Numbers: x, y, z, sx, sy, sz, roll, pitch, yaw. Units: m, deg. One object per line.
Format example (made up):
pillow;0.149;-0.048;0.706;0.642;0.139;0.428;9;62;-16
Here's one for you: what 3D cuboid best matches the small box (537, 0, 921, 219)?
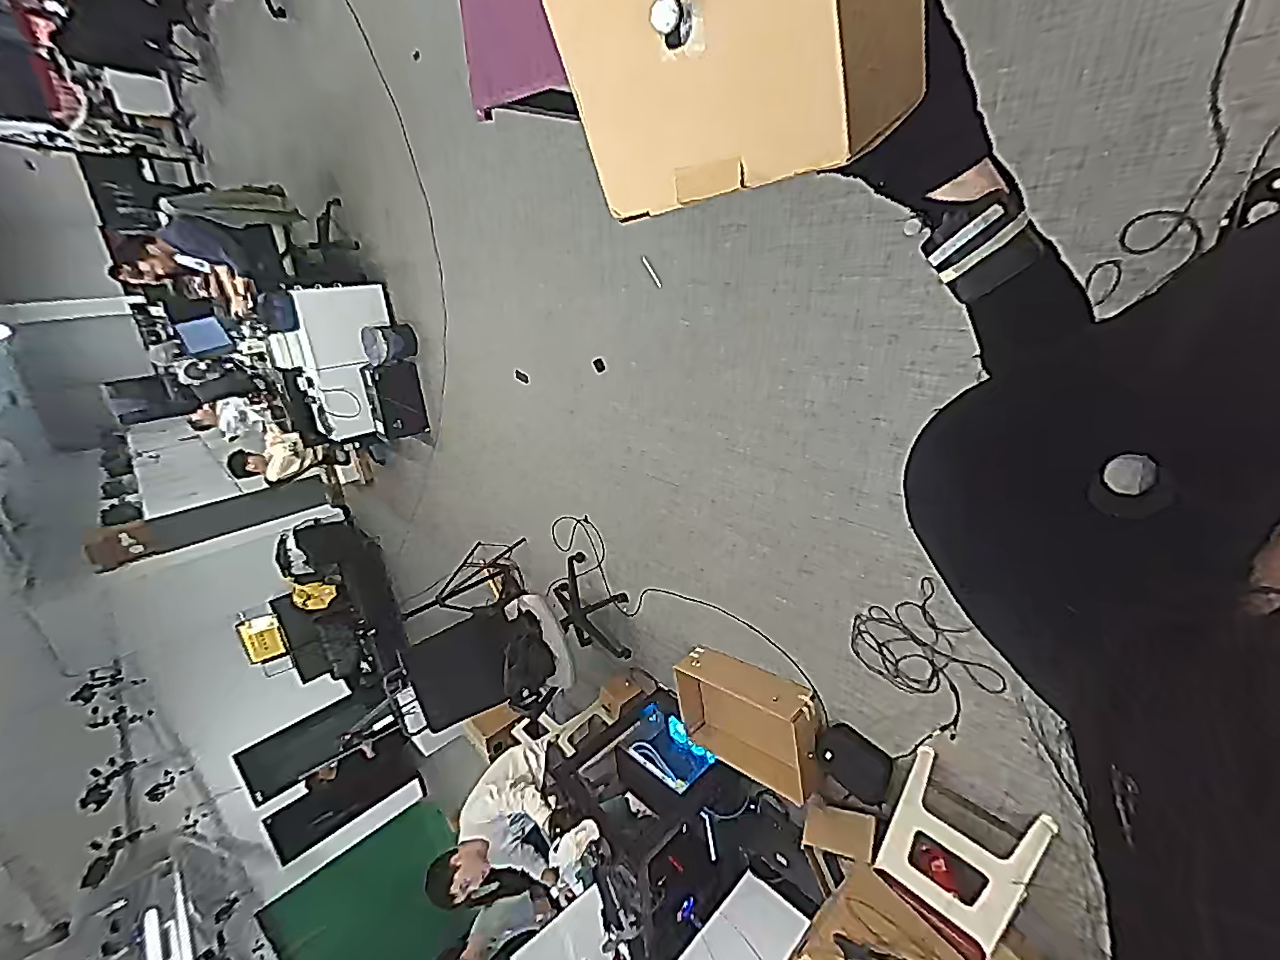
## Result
small box;0.056;-0.286;0.324;0.168;0.179;0.176;8;134;38
